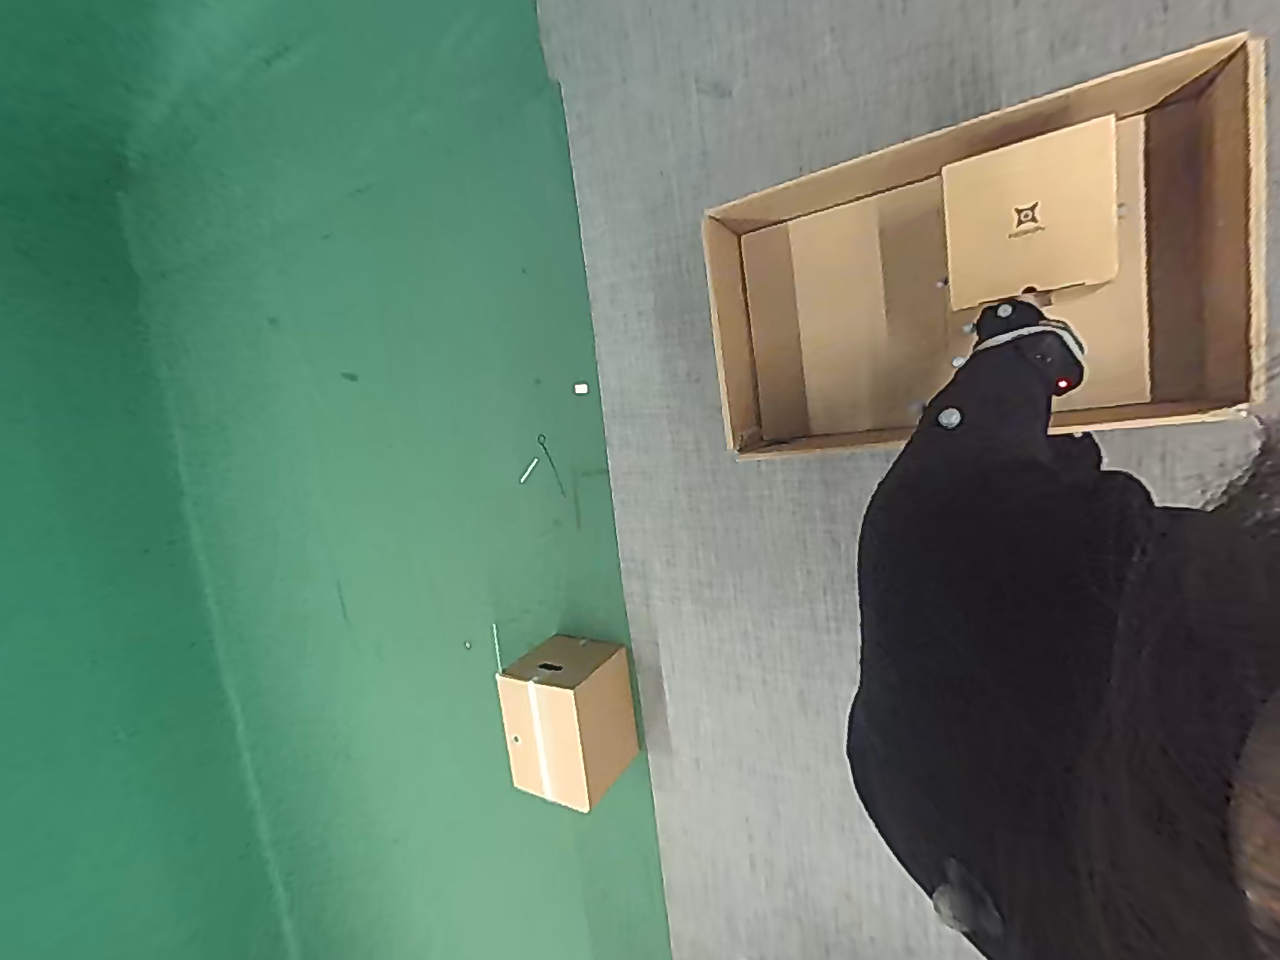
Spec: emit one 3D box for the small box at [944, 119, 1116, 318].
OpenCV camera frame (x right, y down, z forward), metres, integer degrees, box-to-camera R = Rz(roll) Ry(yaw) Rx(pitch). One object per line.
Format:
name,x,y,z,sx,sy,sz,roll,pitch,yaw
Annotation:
small box,0.494,-0.320,0.706,0.168,0.176,0.179,-3,99,31
